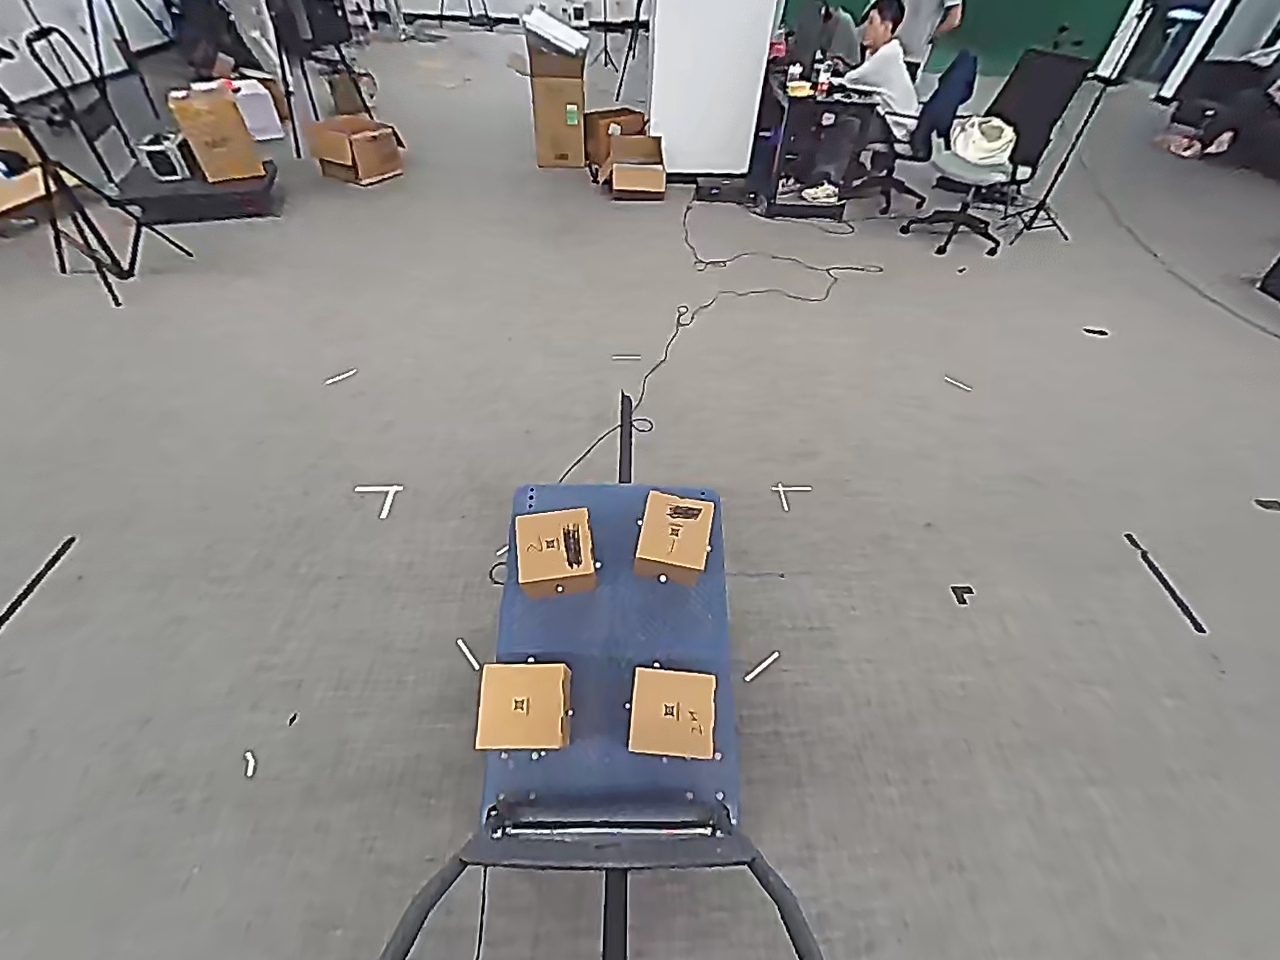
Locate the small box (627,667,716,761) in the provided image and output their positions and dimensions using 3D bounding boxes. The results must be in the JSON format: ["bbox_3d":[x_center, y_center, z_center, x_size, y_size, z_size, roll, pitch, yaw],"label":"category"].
[{"bbox_3d":[0.066,0.519,1.201,0.179,0.176,0.168,7,66,1],"label":"small box"}]

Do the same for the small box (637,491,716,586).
[{"bbox_3d":[0.086,0.152,1.369,0.168,0.176,0.179,12,67,3],"label":"small box"}]

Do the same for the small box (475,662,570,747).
[{"bbox_3d":[-0.251,0.500,1.199,0.179,0.176,0.168,1,65,-4],"label":"small box"}]
